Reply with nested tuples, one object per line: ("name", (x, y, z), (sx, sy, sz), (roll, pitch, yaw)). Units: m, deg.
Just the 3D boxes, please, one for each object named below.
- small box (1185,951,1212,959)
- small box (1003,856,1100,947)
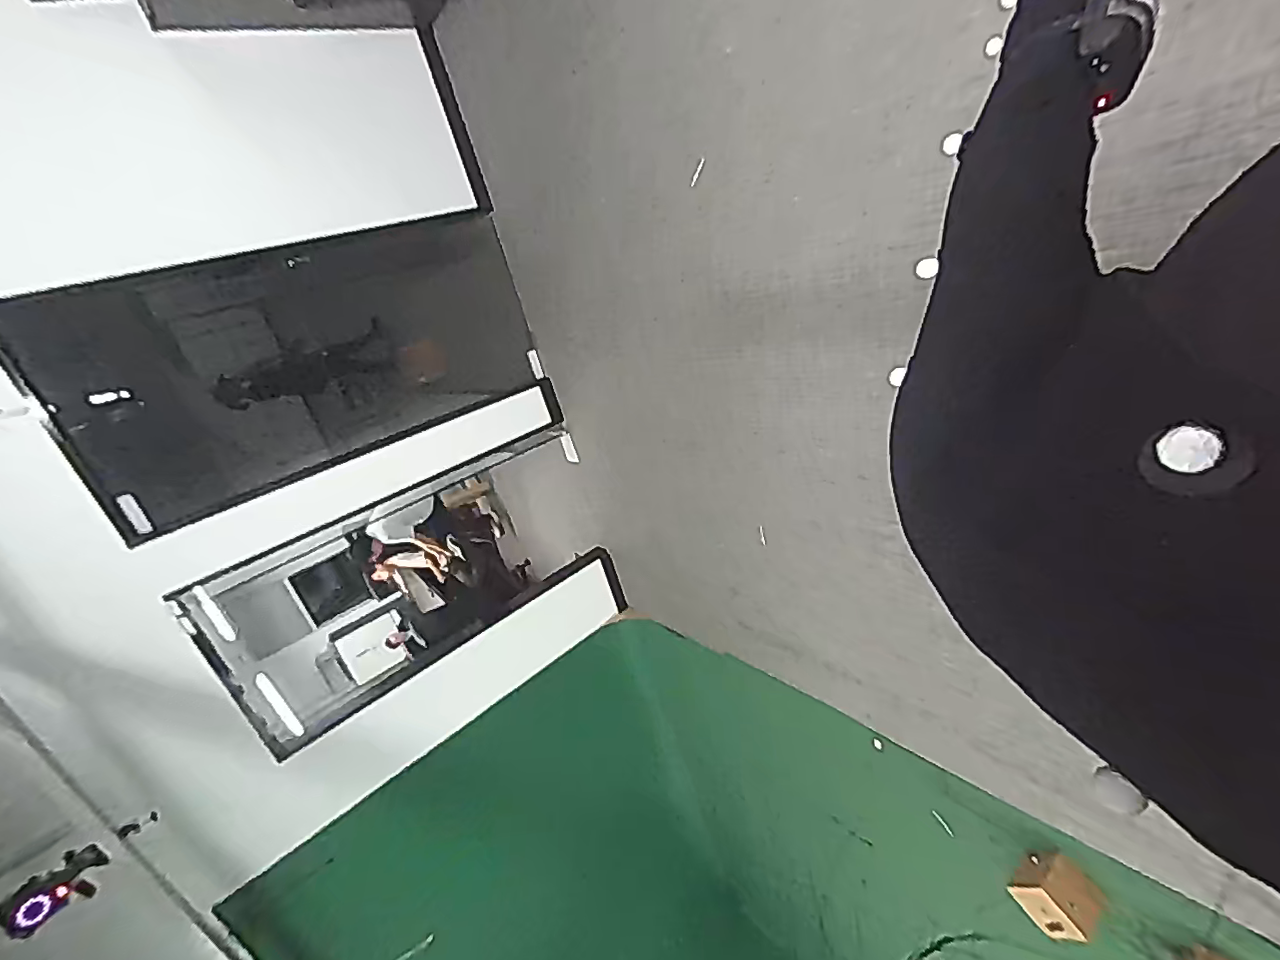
("small box", (1.650, 1.514, 1.538), (0.179, 0.176, 0.168), (24, 132, 47))
("small box", (1.395, 1.418, 1.831), (0.179, 0.176, 0.168), (49, 147, 21))
